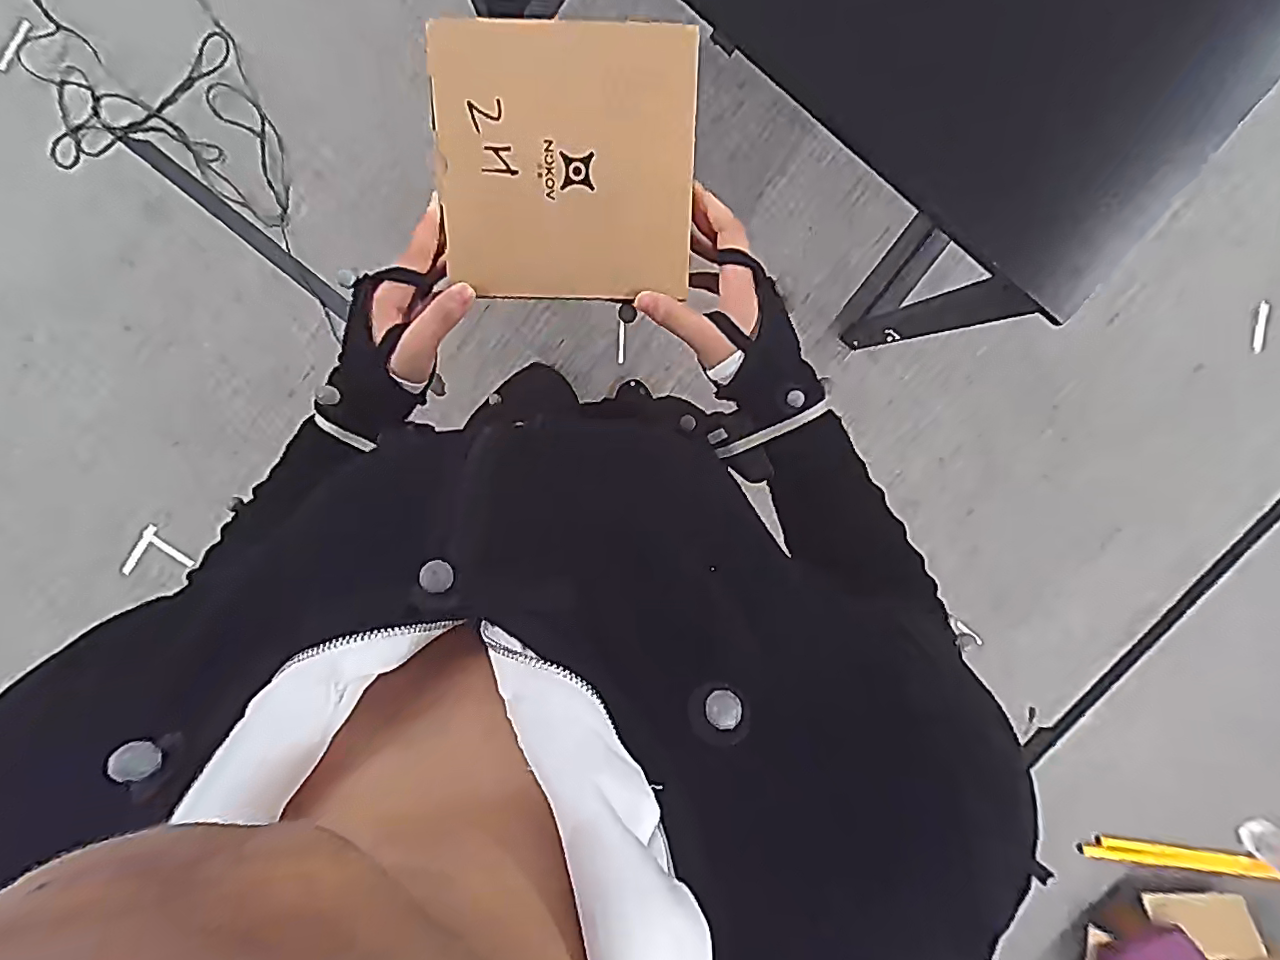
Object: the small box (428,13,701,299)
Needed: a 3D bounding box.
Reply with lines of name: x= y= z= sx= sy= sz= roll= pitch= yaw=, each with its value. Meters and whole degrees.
small box: x=-0.051 y=-0.238 z=0.442 sx=0.179 sy=0.176 sz=0.168 roll=2 pitch=108 yaw=-1
